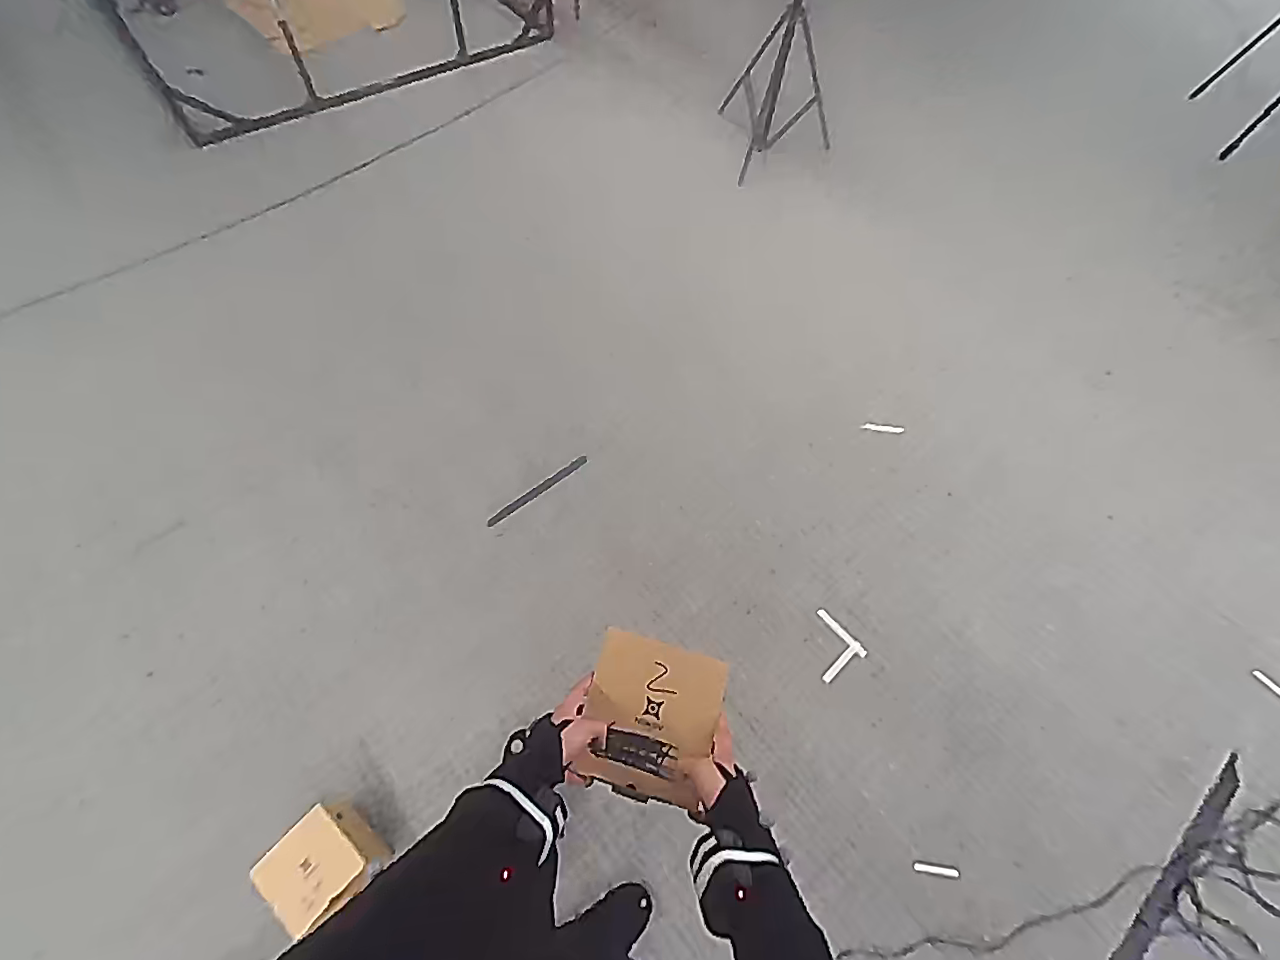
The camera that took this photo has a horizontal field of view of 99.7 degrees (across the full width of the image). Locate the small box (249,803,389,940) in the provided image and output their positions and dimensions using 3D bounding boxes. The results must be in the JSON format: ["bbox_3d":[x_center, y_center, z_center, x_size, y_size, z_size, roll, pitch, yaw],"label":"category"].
[{"bbox_3d":[-0.692,0.844,1.184,0.179,0.176,0.168,38,65,16],"label":"small box"}]
